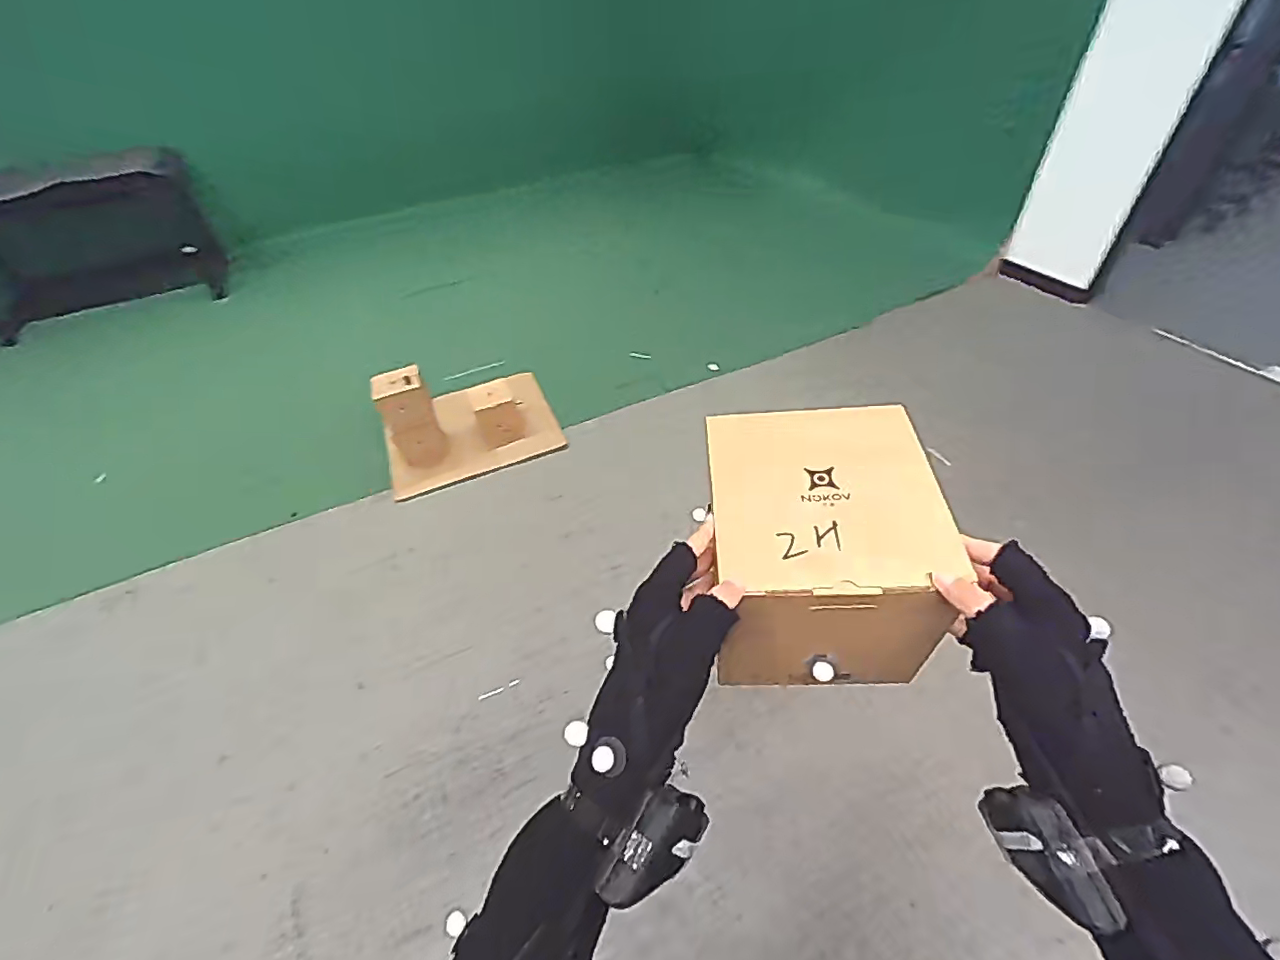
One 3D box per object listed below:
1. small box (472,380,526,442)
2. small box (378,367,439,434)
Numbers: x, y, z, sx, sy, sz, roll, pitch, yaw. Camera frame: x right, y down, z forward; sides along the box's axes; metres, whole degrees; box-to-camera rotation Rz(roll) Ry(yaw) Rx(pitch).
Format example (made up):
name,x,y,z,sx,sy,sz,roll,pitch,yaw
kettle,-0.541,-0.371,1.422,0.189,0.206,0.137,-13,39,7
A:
name,x,y,z,sx,sy,sz,roll,pitch,yaw
small box,-0.596,-0.289,2.288,0.168,0.176,0.179,-21,47,-14
small box,-0.896,-0.308,2.101,0.179,0.176,0.168,-19,47,-10
